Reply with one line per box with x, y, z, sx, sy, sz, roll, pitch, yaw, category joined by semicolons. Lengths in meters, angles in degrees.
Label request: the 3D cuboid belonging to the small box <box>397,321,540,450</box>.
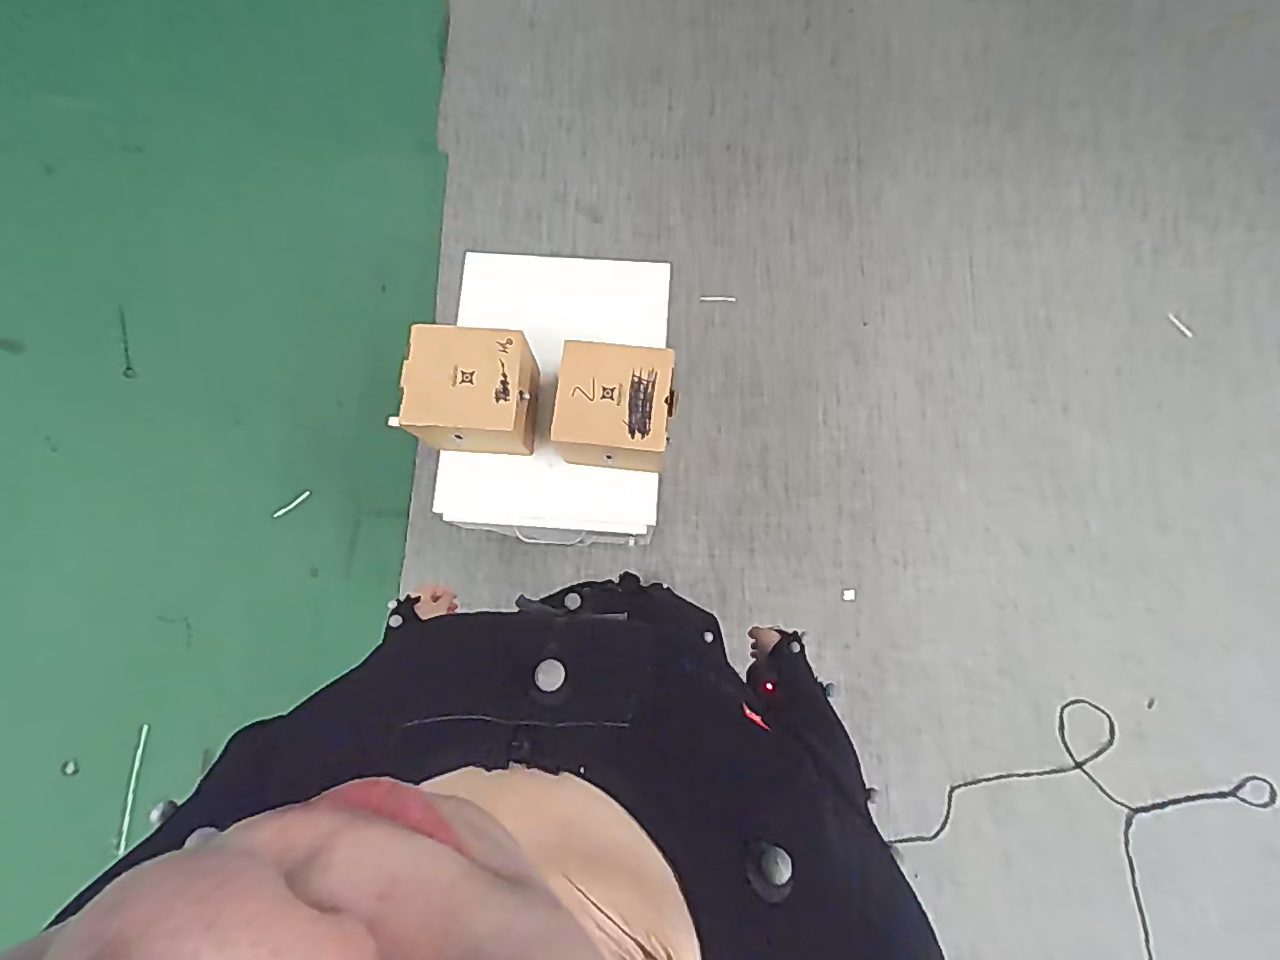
-0.275;-0.149;0.903;0.179;0.176;0.168;4;81;0;small box
